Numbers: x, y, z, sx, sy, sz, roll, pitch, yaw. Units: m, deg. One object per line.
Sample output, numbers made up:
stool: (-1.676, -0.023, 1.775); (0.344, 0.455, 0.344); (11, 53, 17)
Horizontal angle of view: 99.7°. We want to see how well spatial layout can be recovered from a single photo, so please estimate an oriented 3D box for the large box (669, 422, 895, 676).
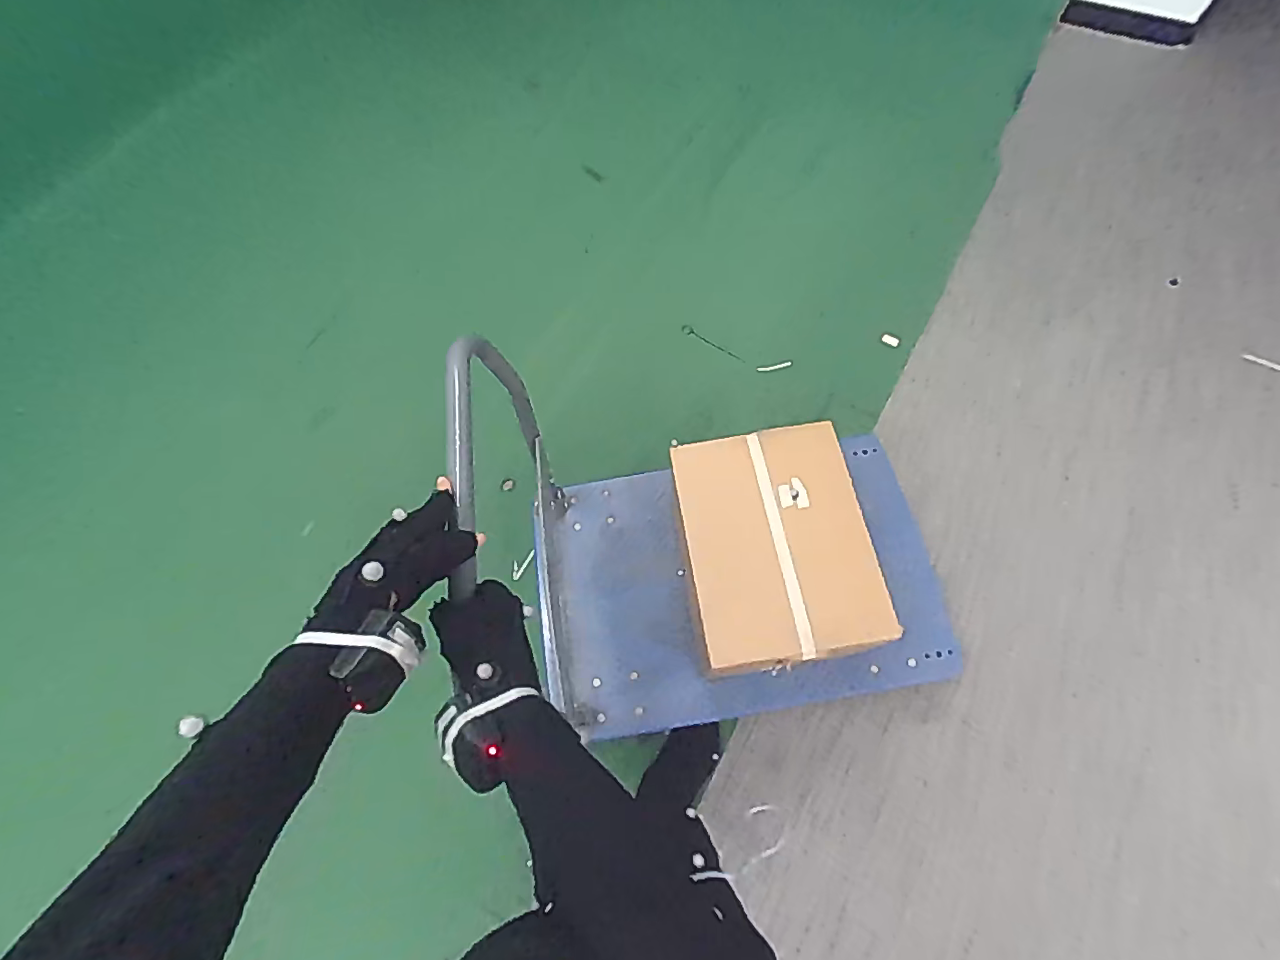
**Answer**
large box: (0.248, 0.151, 1.090); (0.320, 0.320, 0.408); (-9, 65, 0)
